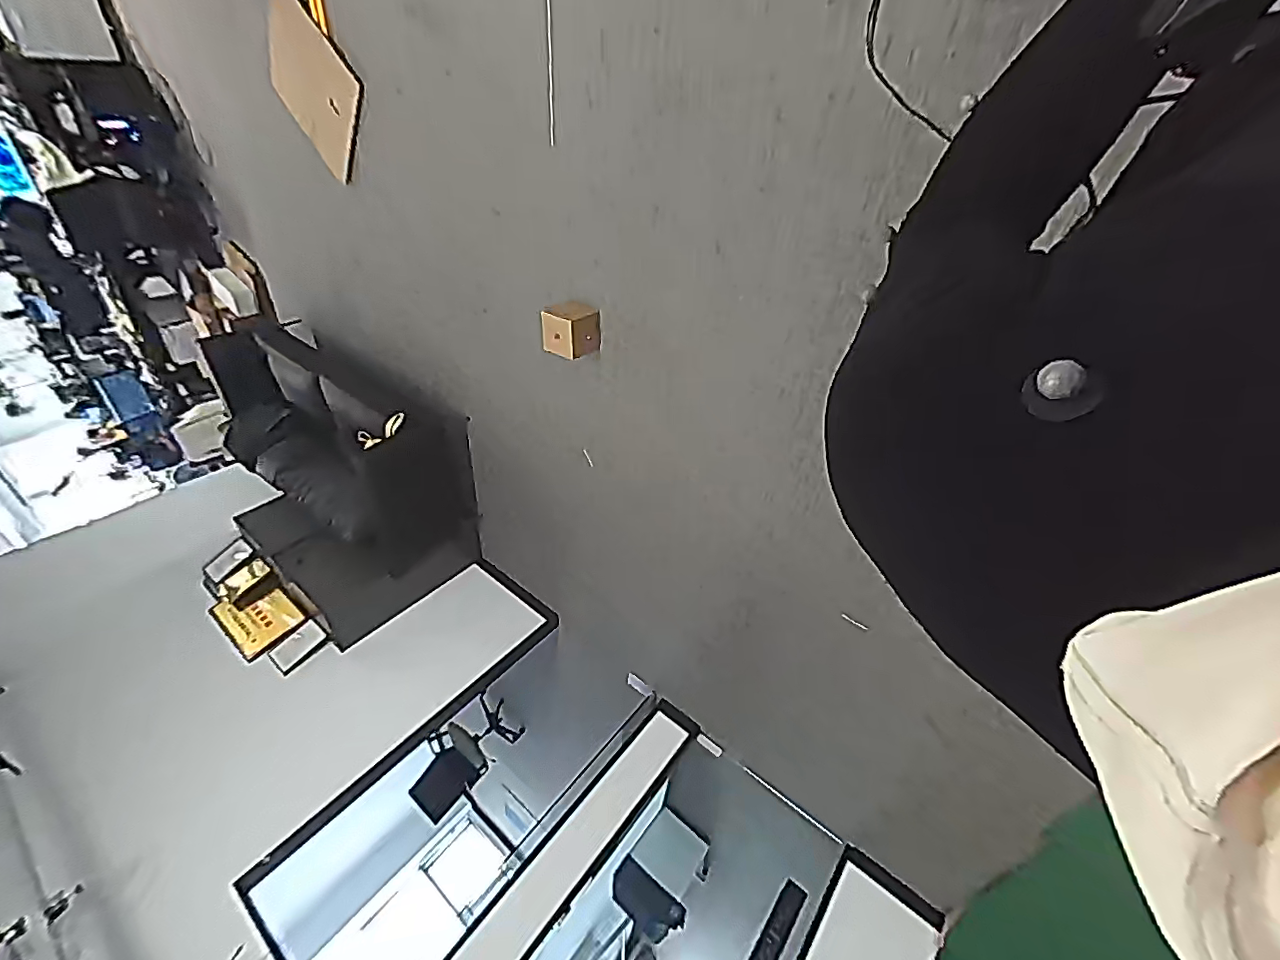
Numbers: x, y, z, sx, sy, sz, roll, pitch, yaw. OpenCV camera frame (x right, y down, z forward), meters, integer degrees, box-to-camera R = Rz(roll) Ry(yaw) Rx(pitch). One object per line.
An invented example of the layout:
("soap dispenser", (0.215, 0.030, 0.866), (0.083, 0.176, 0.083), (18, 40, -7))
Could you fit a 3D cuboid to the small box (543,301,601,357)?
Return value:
("small box", (-0.275, -0.631, 2.241), (0.179, 0.176, 0.168), (27, 132, 30))
